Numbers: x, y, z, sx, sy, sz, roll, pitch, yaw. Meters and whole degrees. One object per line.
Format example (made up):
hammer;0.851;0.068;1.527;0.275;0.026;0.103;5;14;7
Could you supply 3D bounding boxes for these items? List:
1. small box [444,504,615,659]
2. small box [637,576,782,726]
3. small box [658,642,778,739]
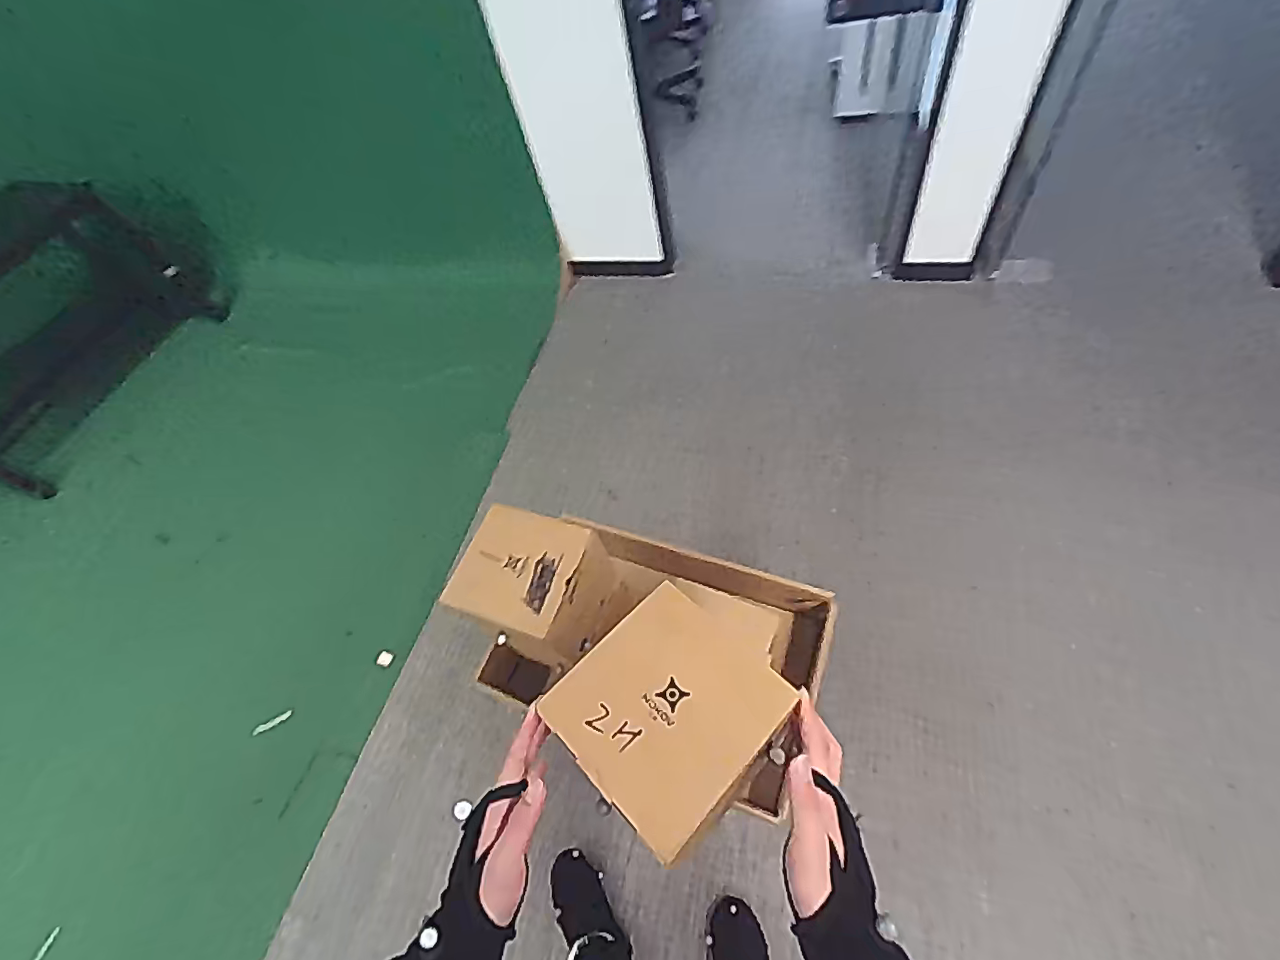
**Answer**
small box;-0.157;0.162;0.839;0.179;0.176;0.168;13;63;21
small box;0.120;0.286;0.890;0.179;0.176;0.168;19;66;22
small box;0.155;0.368;1.026;0.168;0.176;0.179;19;66;23
